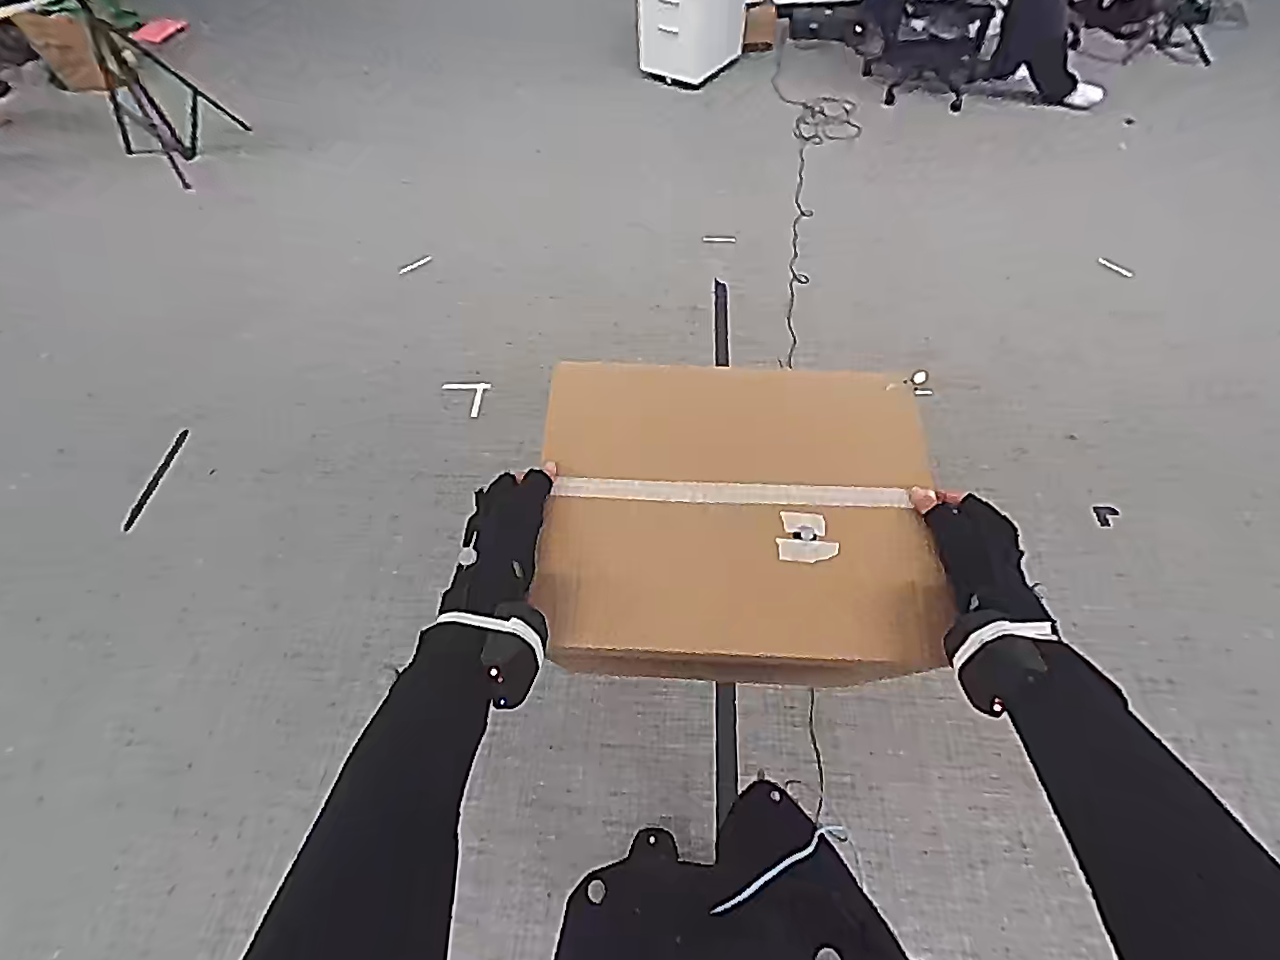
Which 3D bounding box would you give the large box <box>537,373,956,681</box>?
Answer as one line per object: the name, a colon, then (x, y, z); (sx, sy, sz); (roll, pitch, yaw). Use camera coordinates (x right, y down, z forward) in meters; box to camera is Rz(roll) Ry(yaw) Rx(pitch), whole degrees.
large box: (0.103, 0.081, 0.703); (0.408, 0.320, 0.320); (2, 66, 1)
